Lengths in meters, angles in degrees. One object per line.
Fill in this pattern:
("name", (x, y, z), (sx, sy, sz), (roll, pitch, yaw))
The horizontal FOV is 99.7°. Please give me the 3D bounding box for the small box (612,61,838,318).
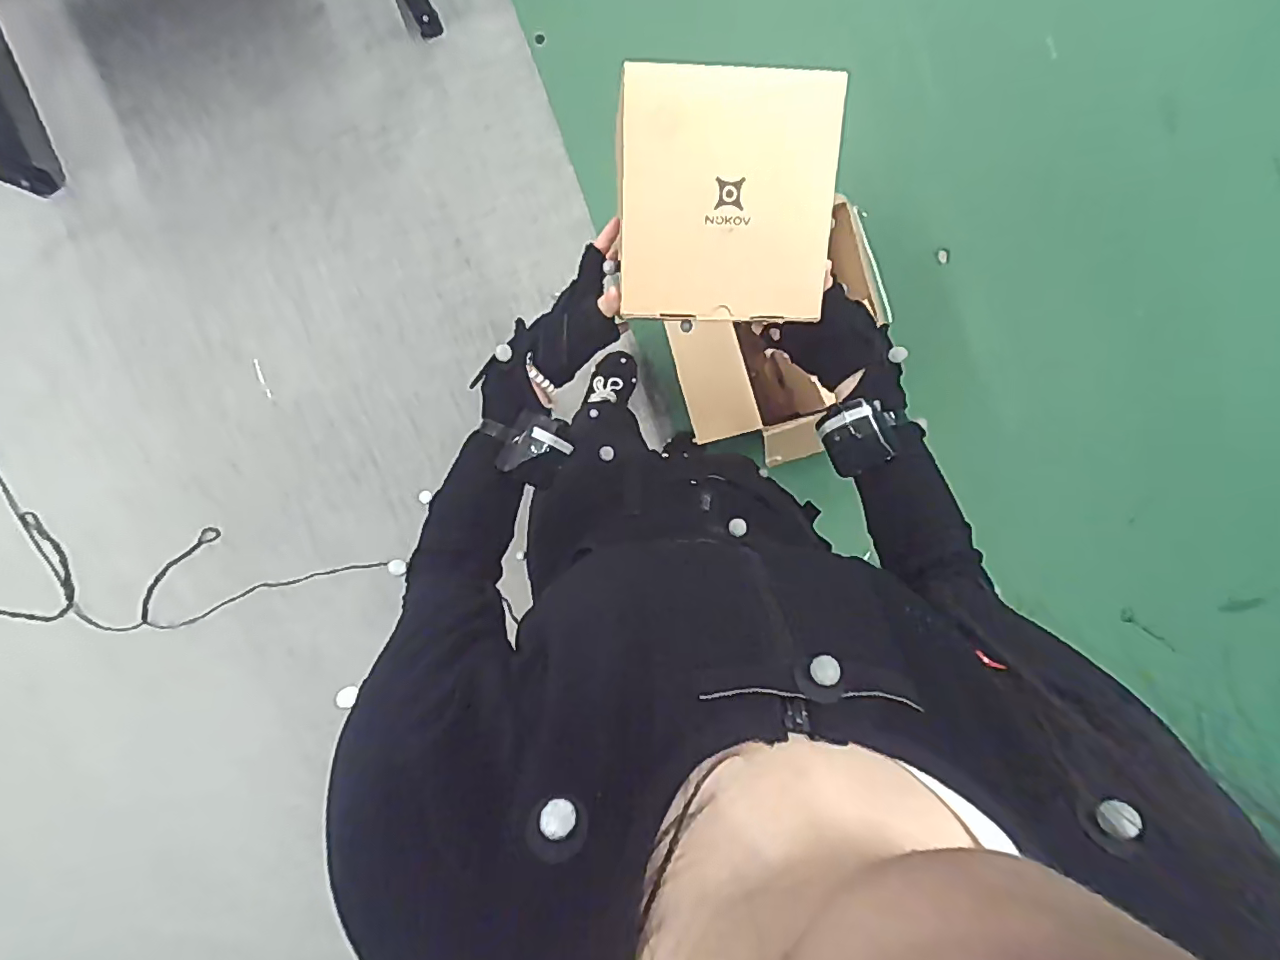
("small box", (0.059, -0.244, 0.499), (0.168, 0.176, 0.179), (0, 108, -4))
